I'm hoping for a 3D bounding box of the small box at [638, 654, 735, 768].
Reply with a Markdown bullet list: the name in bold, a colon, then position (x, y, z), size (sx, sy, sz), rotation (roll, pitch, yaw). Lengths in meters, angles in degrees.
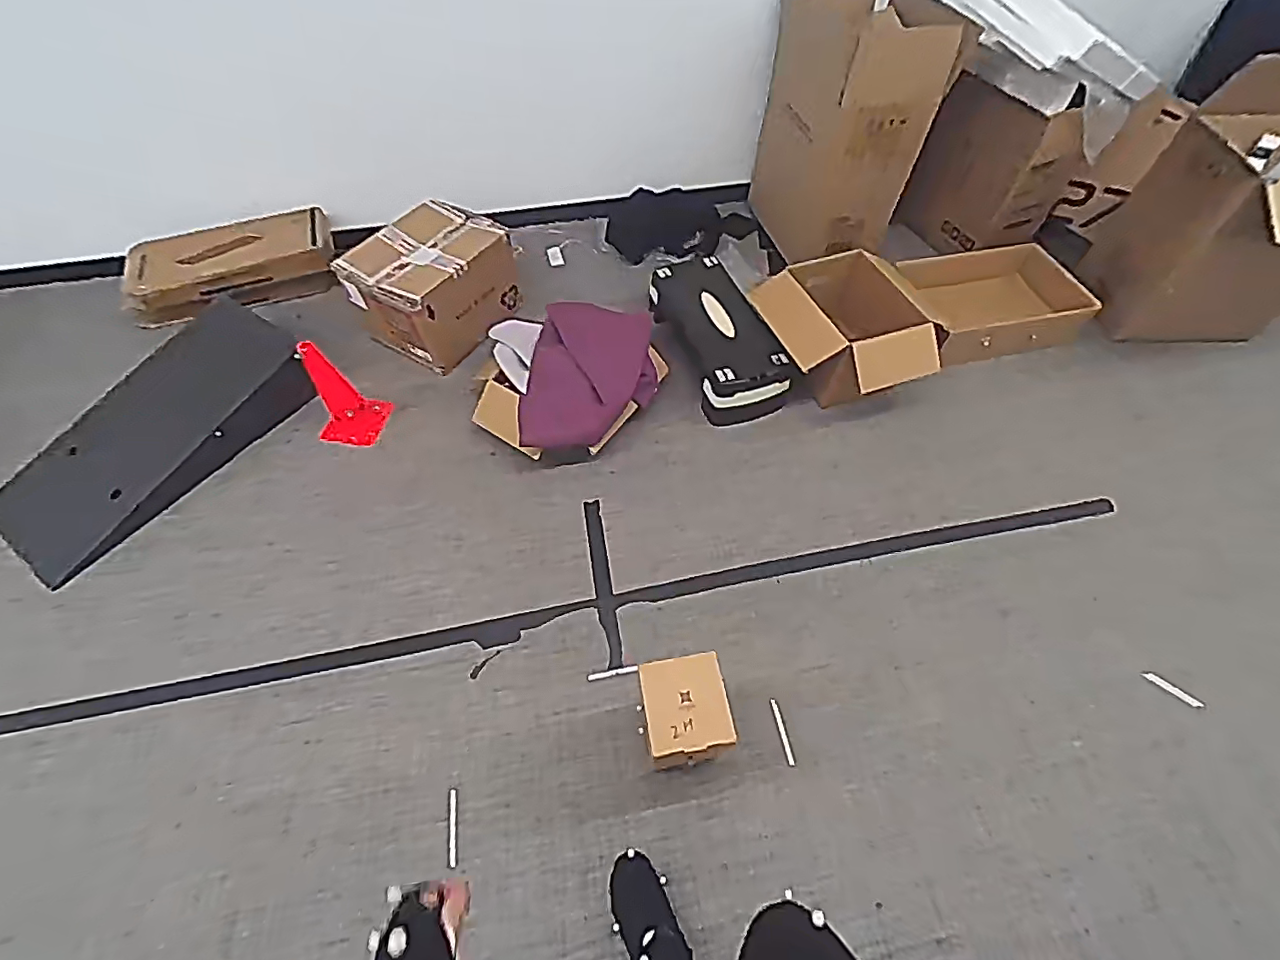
- **small box**: position (0.088, 0.486, 1.134), size (0.168, 0.176, 0.179), rotation (-8, 57, -5)
